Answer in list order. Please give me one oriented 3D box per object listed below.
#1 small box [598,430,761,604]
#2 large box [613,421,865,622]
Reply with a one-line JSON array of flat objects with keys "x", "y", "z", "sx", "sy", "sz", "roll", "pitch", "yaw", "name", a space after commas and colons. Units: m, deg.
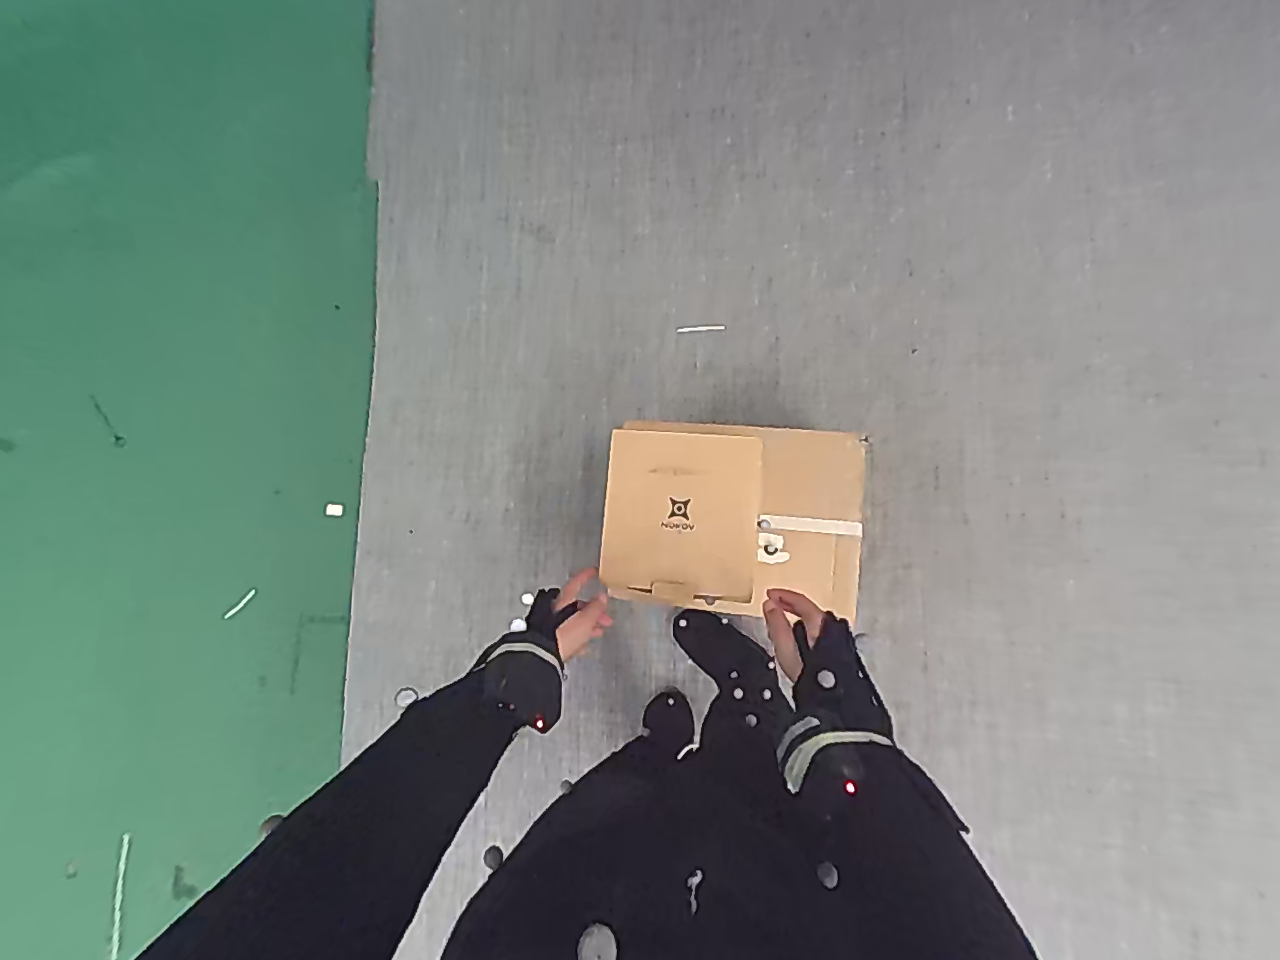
[{"x": 0.056, "y": 0.044, "z": 0.652, "sx": 0.168, "sy": 0.176, "sz": 0.179, "roll": 4, "pitch": 84, "yaw": 11, "name": "small box"}, {"x": 0.183, "y": 0.075, "z": 1.040, "sx": 0.408, "sy": 0.320, "sz": 0.320, "roll": 4, "pitch": 86, "yaw": 11, "name": "large box"}]
